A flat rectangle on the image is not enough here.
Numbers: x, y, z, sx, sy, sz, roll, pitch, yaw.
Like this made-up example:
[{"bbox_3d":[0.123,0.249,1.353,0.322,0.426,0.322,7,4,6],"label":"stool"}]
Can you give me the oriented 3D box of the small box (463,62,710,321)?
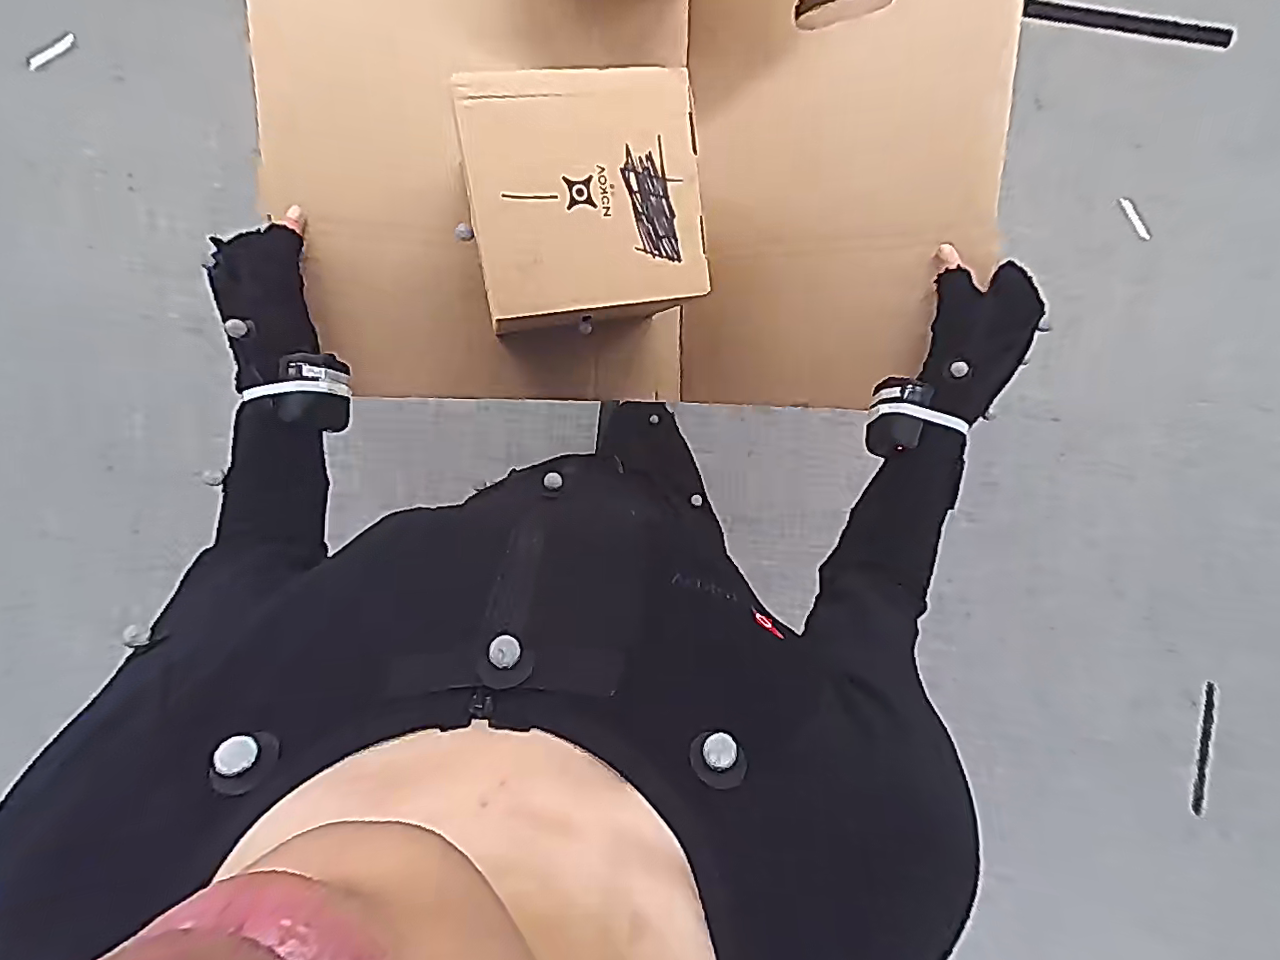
[{"bbox_3d":[-0.054,-0.242,0.490,0.179,0.176,0.168,-11,104,-12],"label":"small box"}]
